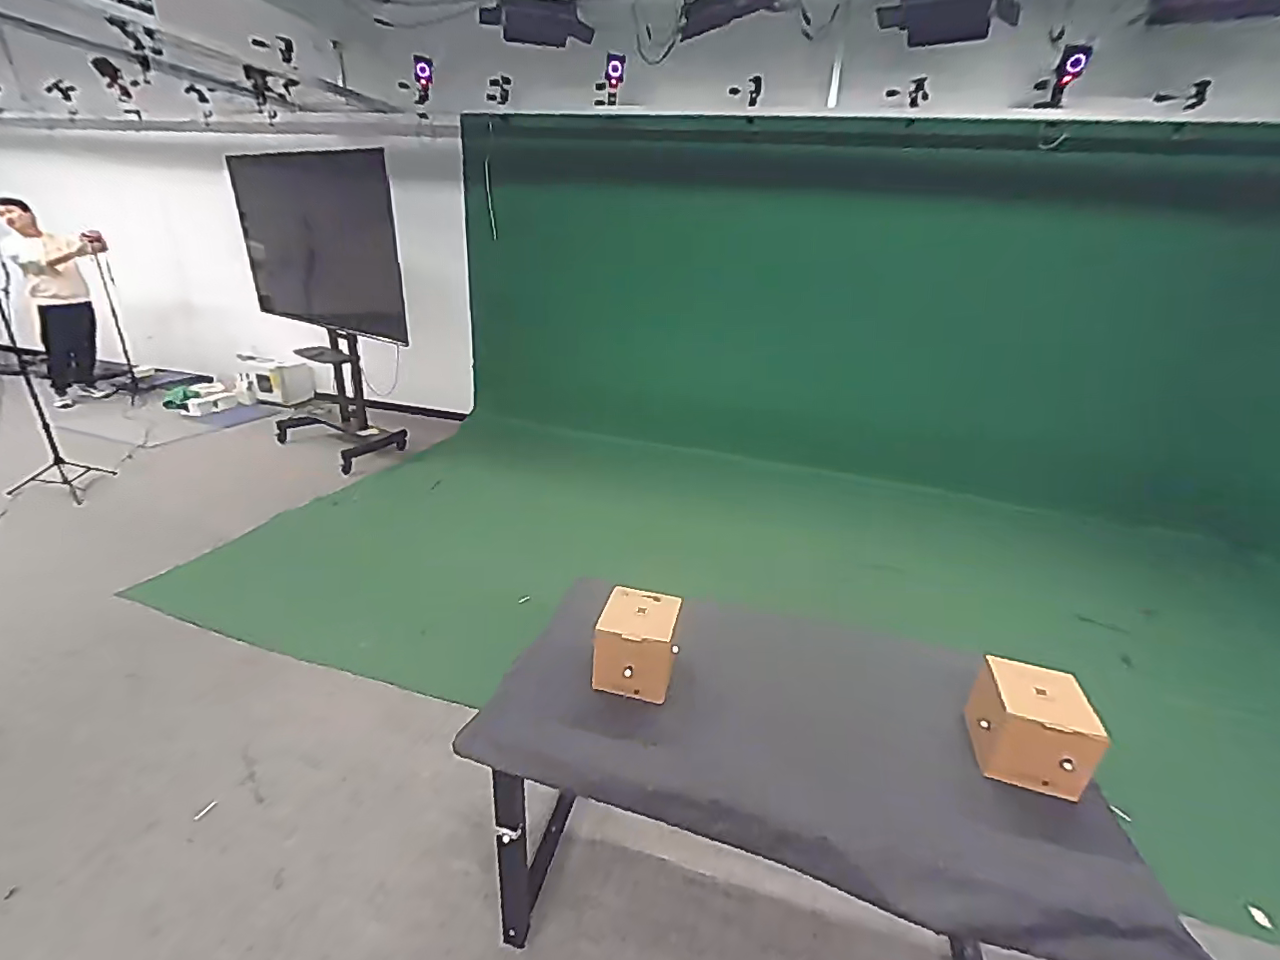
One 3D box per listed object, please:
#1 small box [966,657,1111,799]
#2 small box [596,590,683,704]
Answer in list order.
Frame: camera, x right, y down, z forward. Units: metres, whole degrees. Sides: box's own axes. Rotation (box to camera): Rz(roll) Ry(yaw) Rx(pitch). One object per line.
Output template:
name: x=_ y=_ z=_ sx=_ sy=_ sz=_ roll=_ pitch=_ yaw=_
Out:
small box: x=0.785 y=0.495 z=1.086 sx=0.168 sy=0.176 sz=0.179 roll=11 pitch=22 yaw=15
small box: x=0.001 y=0.383 z=1.246 sx=0.168 sy=0.176 sz=0.179 roll=9 pitch=23 yaw=11
